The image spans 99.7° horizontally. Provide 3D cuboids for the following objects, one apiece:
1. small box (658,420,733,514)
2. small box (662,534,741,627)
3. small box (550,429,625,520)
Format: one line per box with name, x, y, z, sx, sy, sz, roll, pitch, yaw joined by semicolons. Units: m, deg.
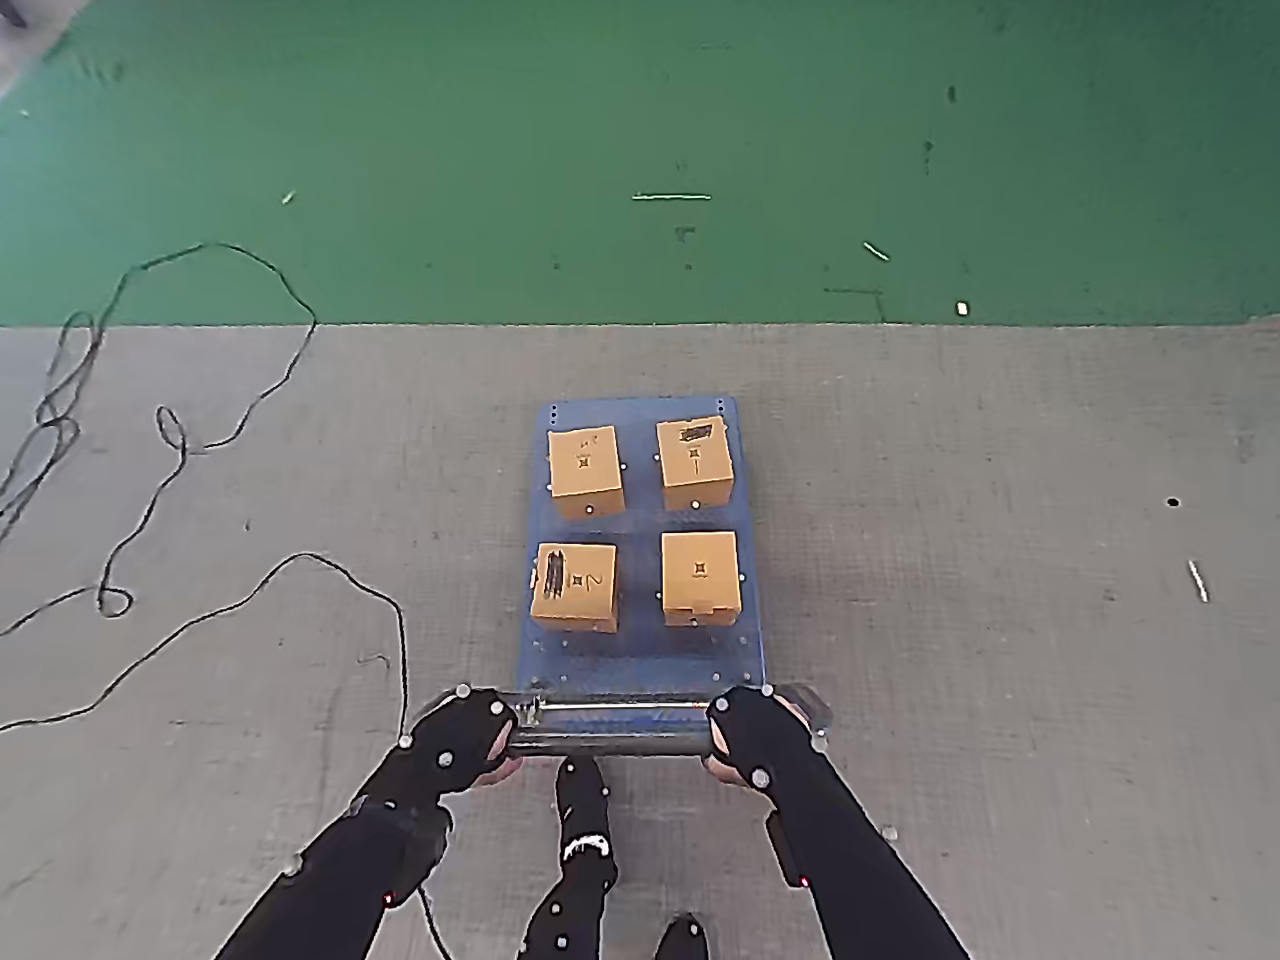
small box;0.134;-0.030;1.375;0.168;0.176;0.179;-6;65;0
small box;0.134;0.236;1.251;0.168;0.176;0.179;-1;65;2
small box;-0.131;-0.006;1.376;0.168;0.176;0.179;-7;65;-1
